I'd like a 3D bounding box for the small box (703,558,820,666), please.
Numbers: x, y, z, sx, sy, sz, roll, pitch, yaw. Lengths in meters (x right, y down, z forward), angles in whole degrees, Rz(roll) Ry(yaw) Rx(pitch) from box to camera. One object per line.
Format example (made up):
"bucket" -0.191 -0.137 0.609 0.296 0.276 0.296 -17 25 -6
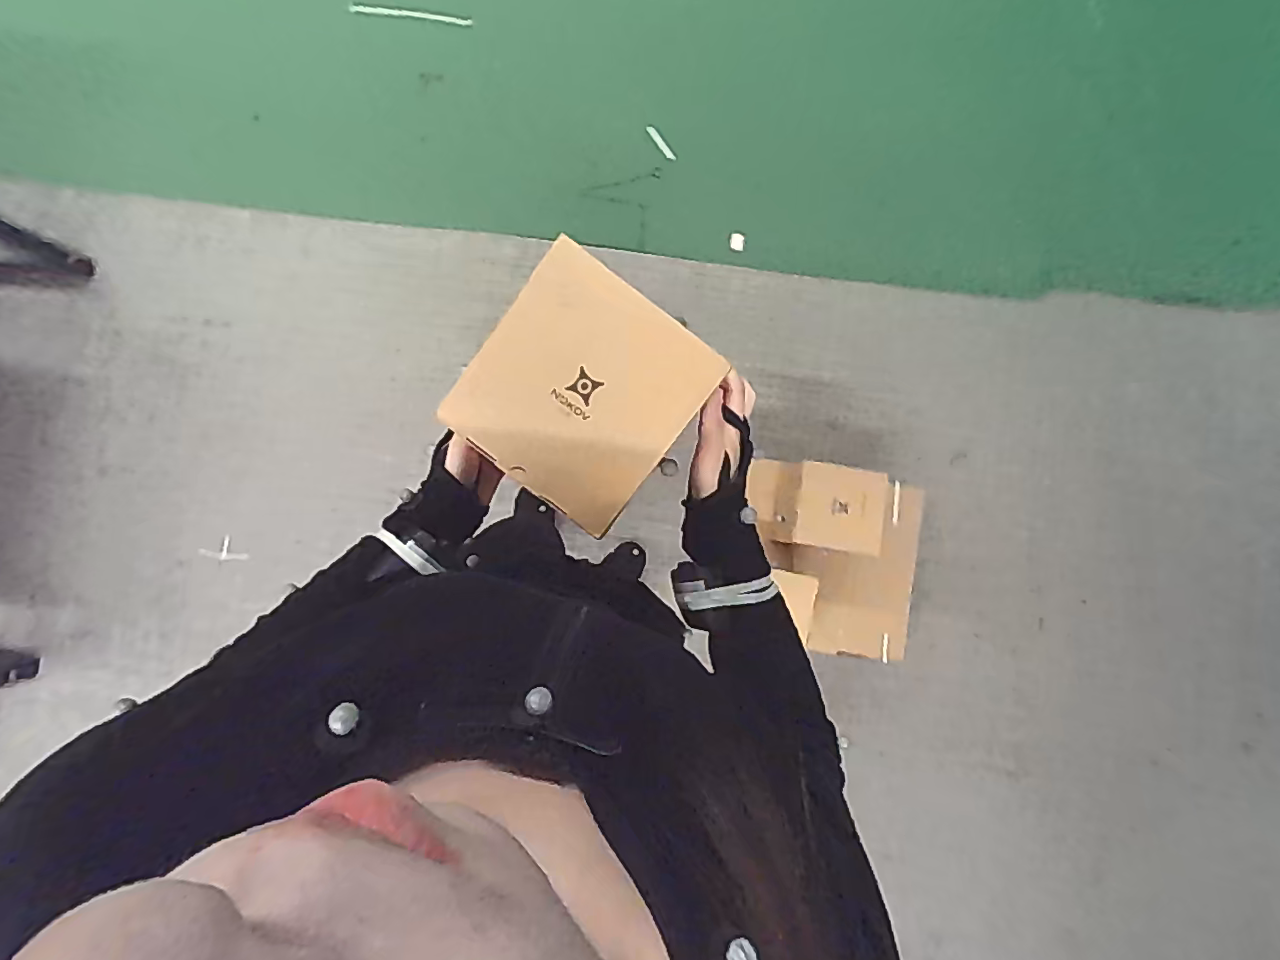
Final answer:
"small box" 0.241 0.261 1.110 0.179 0.176 0.168 13 86 -1

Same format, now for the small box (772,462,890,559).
"small box" 0.389 0.067 1.133 0.179 0.176 0.168 11 85 -2
